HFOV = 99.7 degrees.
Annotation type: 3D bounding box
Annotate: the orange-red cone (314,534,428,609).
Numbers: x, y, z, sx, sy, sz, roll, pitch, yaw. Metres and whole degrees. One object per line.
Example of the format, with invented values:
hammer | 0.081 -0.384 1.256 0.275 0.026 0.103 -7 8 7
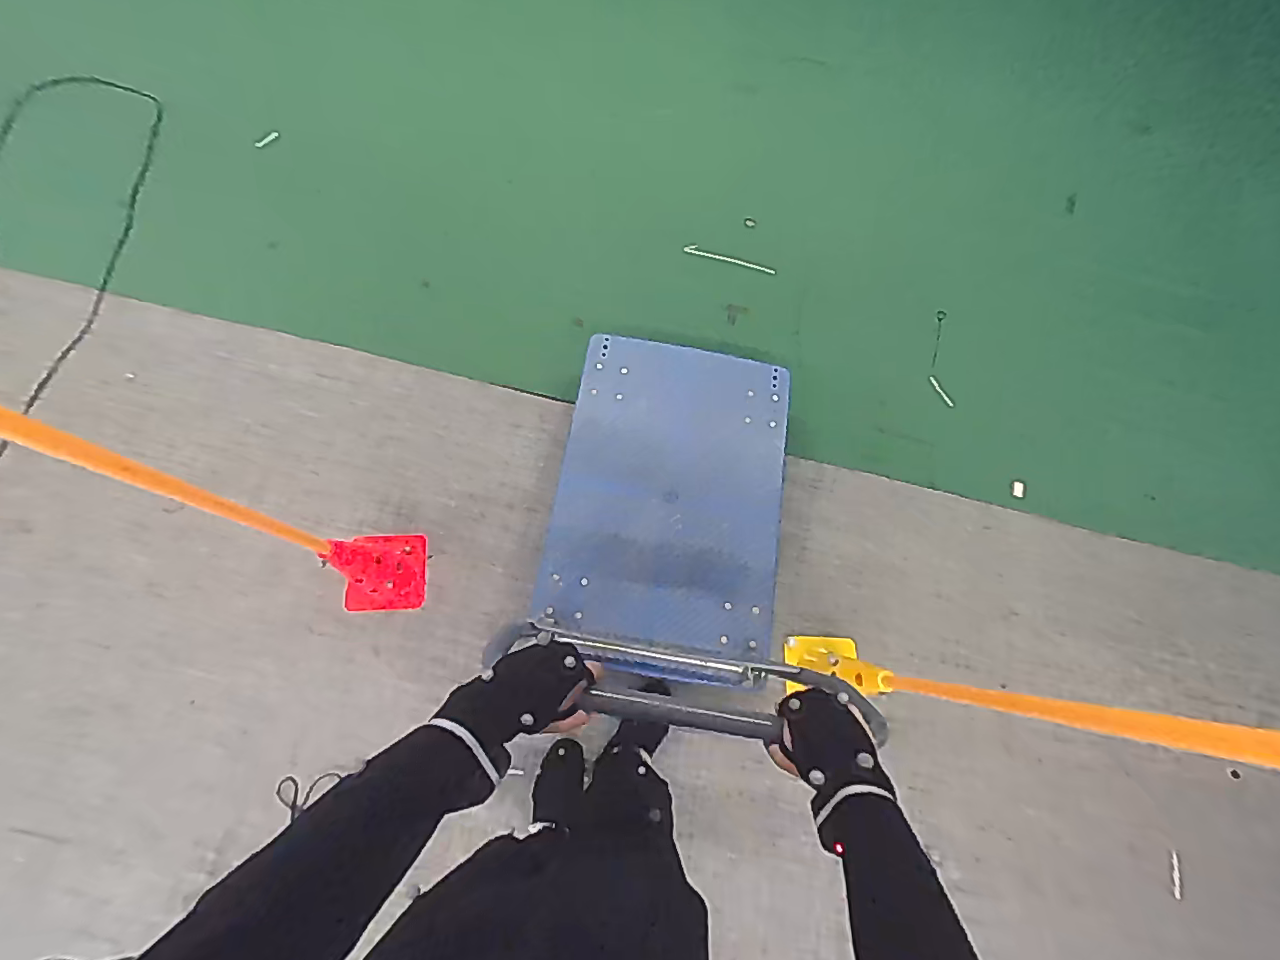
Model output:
orange-red cone | -0.655 0.186 1.259 0.199 0.360 0.198 -1 72 -4
